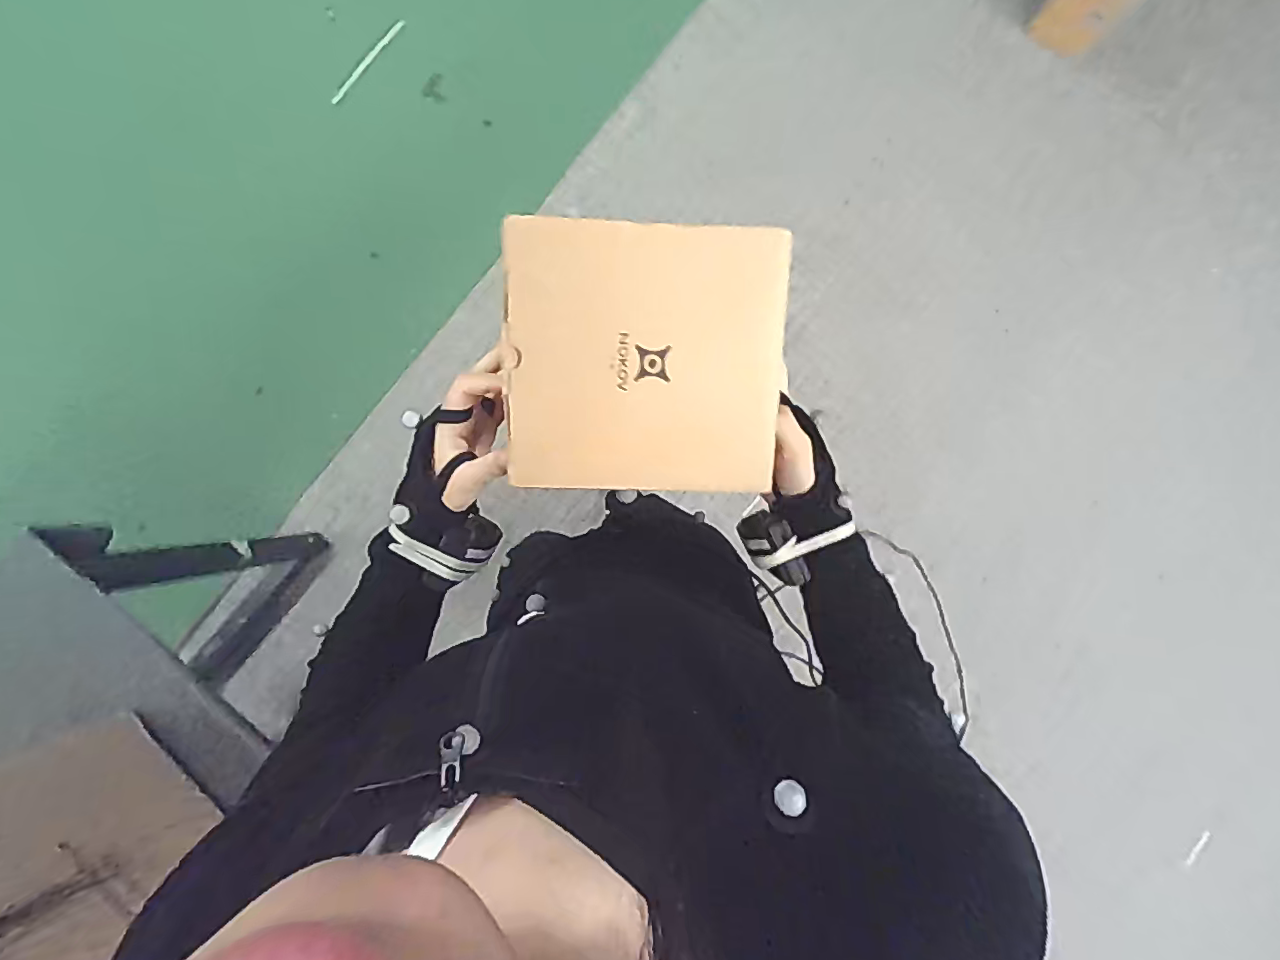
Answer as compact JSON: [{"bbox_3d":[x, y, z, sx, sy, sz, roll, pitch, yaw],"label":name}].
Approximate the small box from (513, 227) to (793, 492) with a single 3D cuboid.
[{"bbox_3d":[0.004,-0.090,0.426,0.179,0.176,0.168,1,102,-2],"label":"small box"}]
